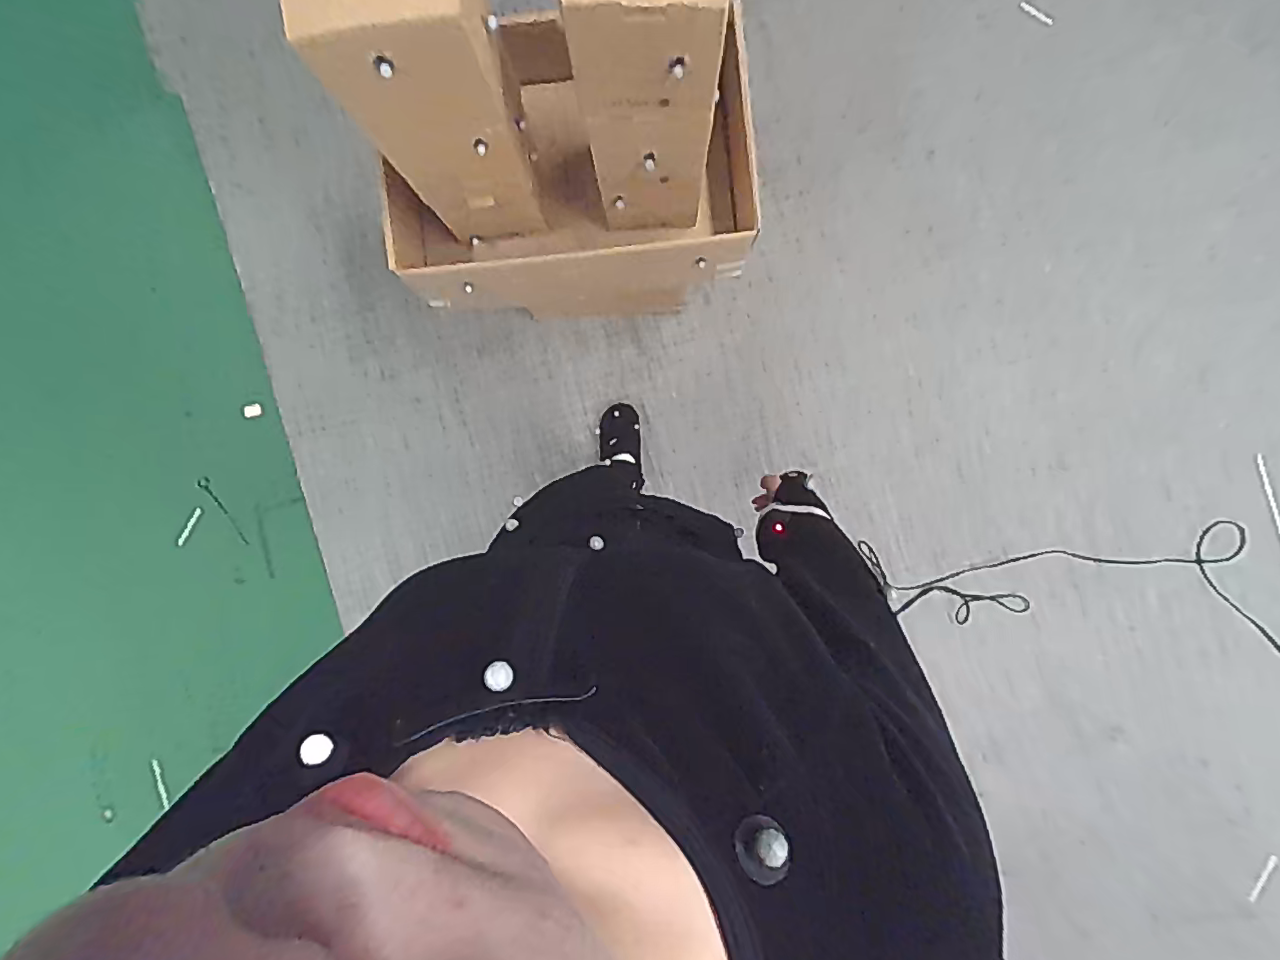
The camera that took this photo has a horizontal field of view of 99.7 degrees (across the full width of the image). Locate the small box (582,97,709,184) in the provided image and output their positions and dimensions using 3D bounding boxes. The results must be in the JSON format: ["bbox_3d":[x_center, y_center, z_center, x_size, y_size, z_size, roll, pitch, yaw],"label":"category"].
[{"bbox_3d":[0.011,-0.542,0.761,0.168,0.176,0.179,1,92,1],"label":"small box"}]

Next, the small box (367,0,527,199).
[{"bbox_3d":[-0.271,-0.524,0.768,0.179,0.176,0.168,-7,91,-1],"label":"small box"}]

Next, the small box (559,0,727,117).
[{"bbox_3d":[0.008,-0.538,0.598,0.168,0.176,0.179,2,91,0],"label":"small box"}]

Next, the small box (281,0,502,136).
[{"bbox_3d":[-0.269,-0.518,0.604,0.179,0.176,0.168,-8,92,-1],"label":"small box"}]
